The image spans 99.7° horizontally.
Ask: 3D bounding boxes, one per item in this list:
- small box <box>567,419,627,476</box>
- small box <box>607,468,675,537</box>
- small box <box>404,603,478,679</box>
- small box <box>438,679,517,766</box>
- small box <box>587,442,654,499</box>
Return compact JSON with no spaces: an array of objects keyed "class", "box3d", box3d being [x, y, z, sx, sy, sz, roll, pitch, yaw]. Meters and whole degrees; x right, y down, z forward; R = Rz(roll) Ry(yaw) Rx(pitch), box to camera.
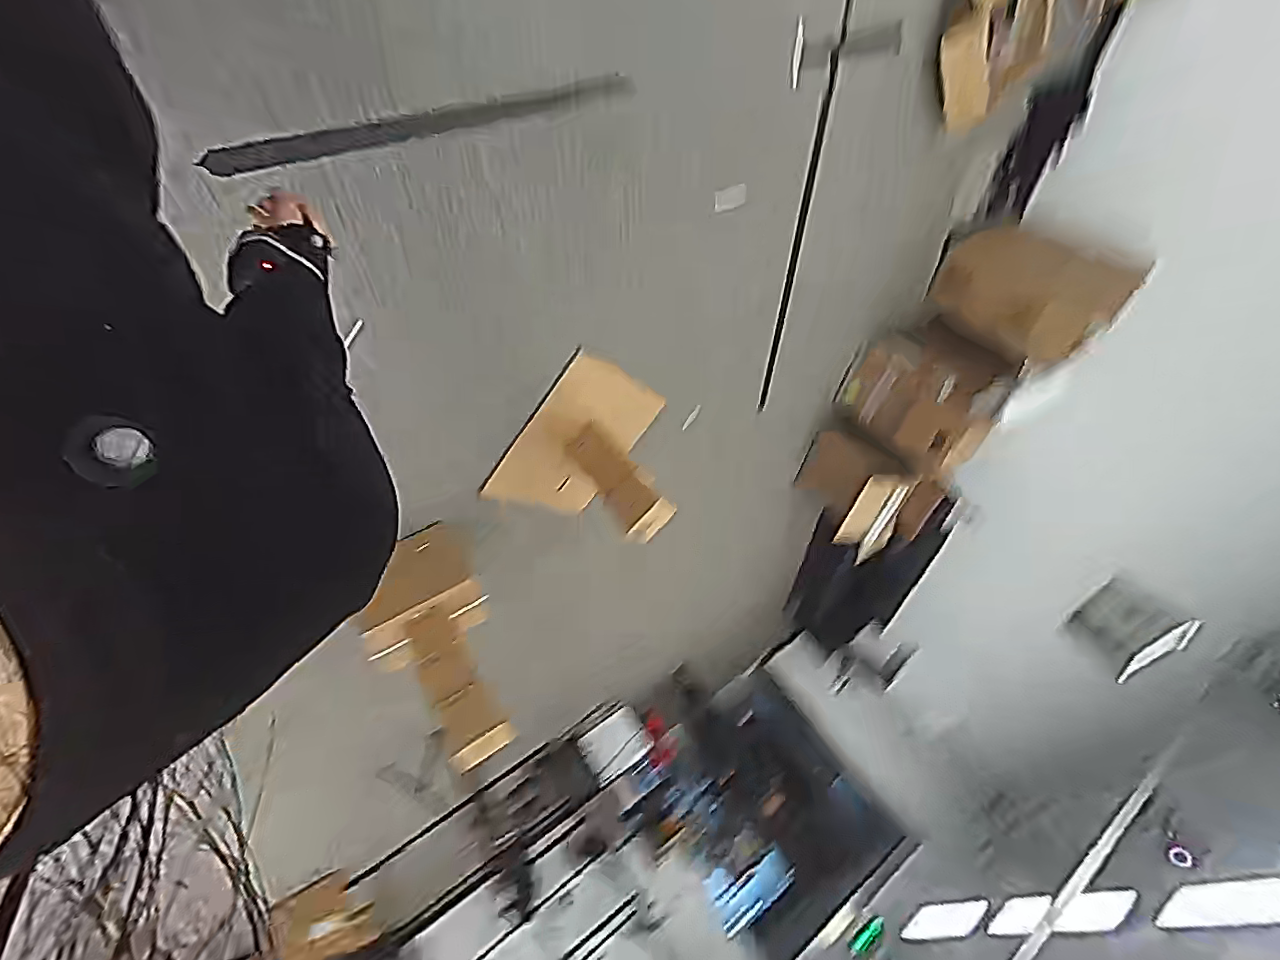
[{"class":"small box","box3d":[-0.178,-0.123,2.251,0.179,0.176,0.168,-48,148,12]},{"class":"small box","box3d":[-0.002,0.087,2.071,0.179,0.176,0.168,-46,149,7]},{"class":"small box","box3d":[-0.701,0.561,1.901,0.168,0.176,0.179,-30,146,-18]},{"class":"small box","box3d":[-0.518,0.769,1.724,0.168,0.176,0.179,-30,145,-21]},{"class":"small box","box3d":[-0.082,-0.024,2.165,0.179,0.176,0.168,-47,149,11]}]
